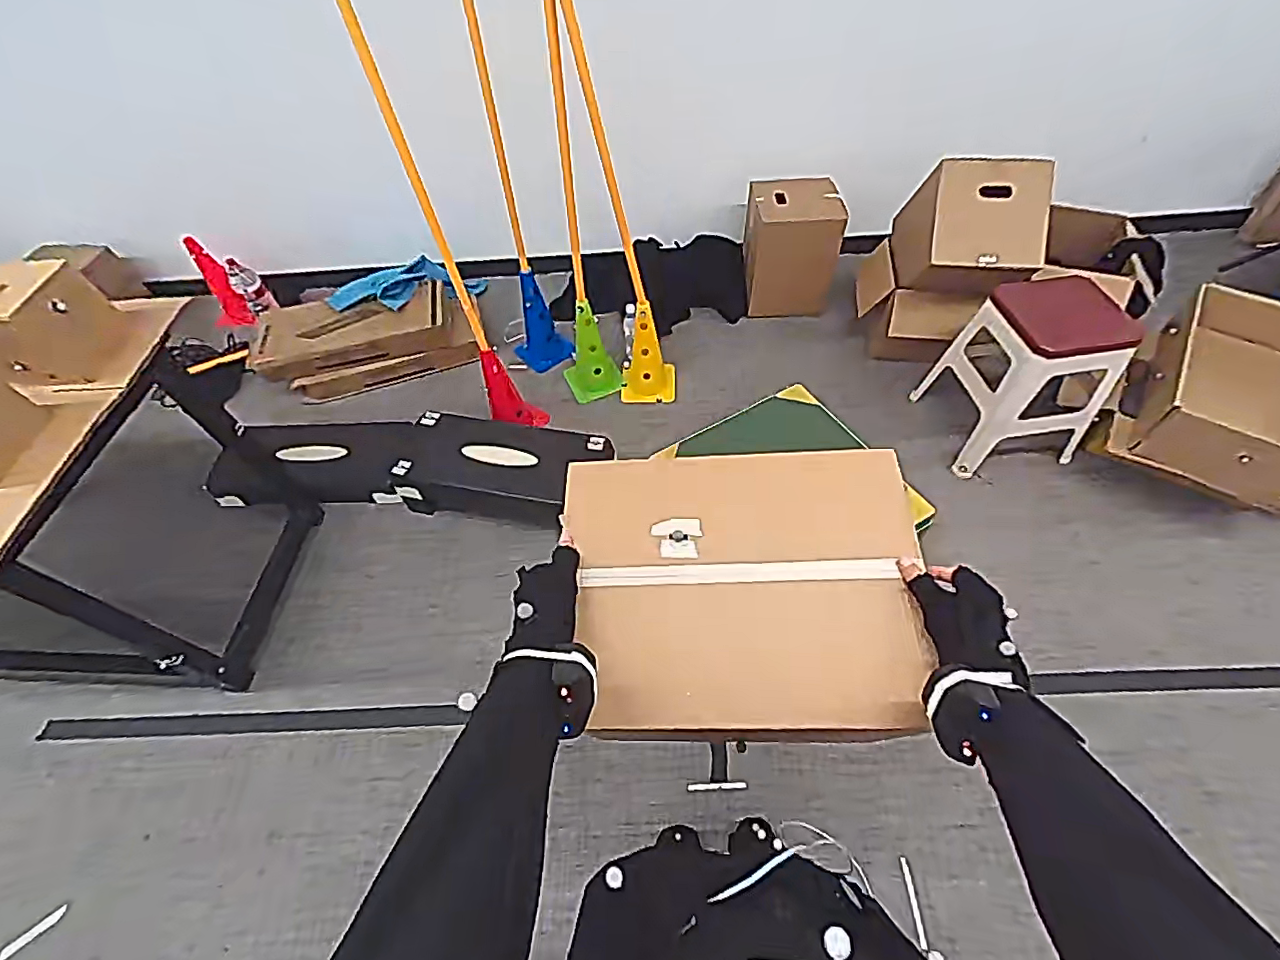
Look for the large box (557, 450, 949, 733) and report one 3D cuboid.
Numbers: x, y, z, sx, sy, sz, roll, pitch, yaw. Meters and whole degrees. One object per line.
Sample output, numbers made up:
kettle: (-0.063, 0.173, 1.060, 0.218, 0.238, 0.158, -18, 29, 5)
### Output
large box: (0.128, 0.177, 0.748, 0.408, 0.320, 0.320, -3, 61, 6)
